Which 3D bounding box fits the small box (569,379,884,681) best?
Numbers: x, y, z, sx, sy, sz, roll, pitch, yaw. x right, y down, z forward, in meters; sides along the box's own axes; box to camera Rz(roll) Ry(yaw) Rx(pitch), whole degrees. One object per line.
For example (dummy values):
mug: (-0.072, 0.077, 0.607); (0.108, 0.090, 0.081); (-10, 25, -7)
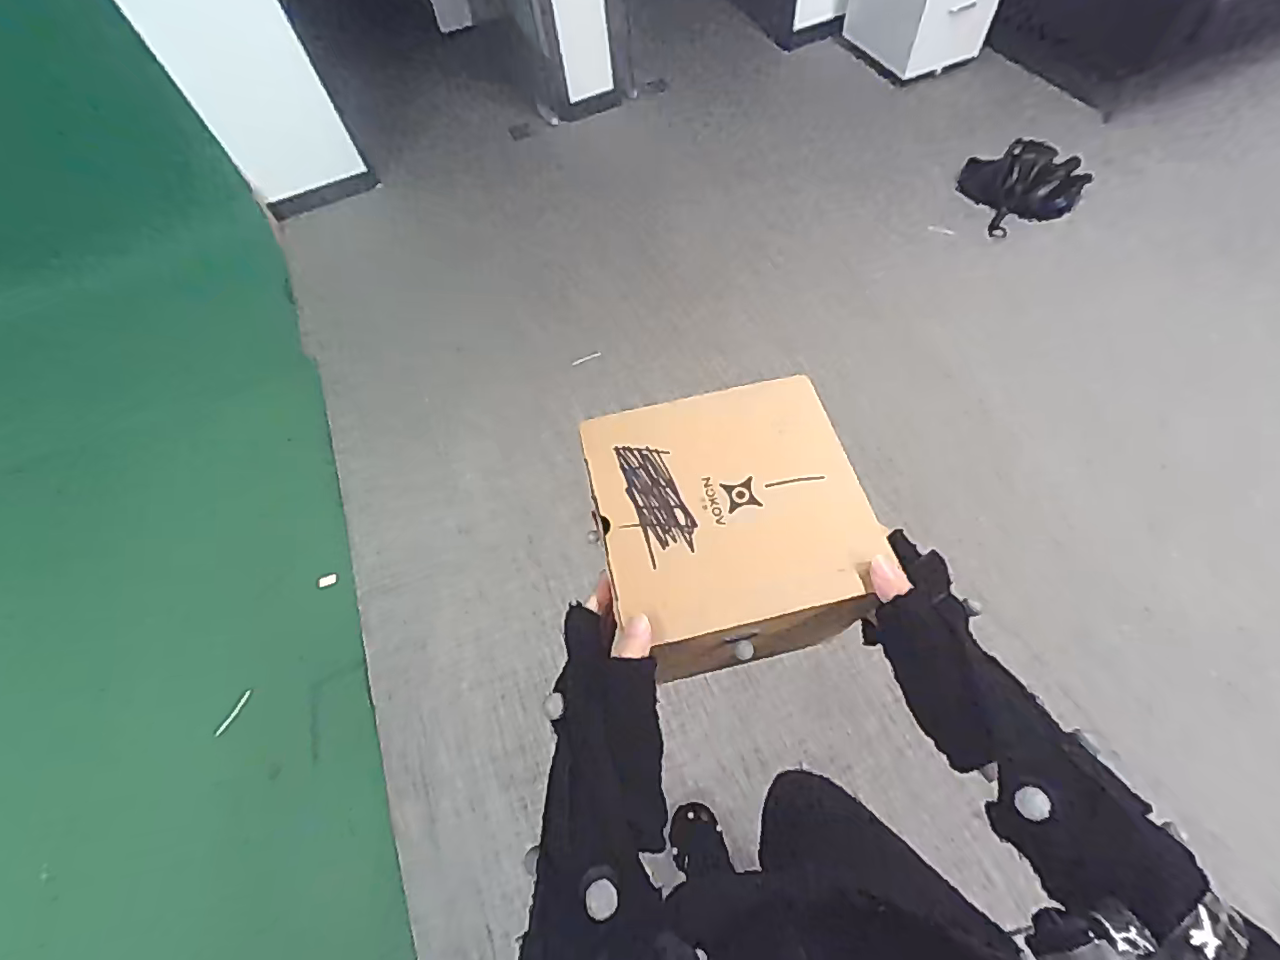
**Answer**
small box: (0.053, 0.050, 0.428); (0.179, 0.176, 0.168); (-12, 62, -4)
